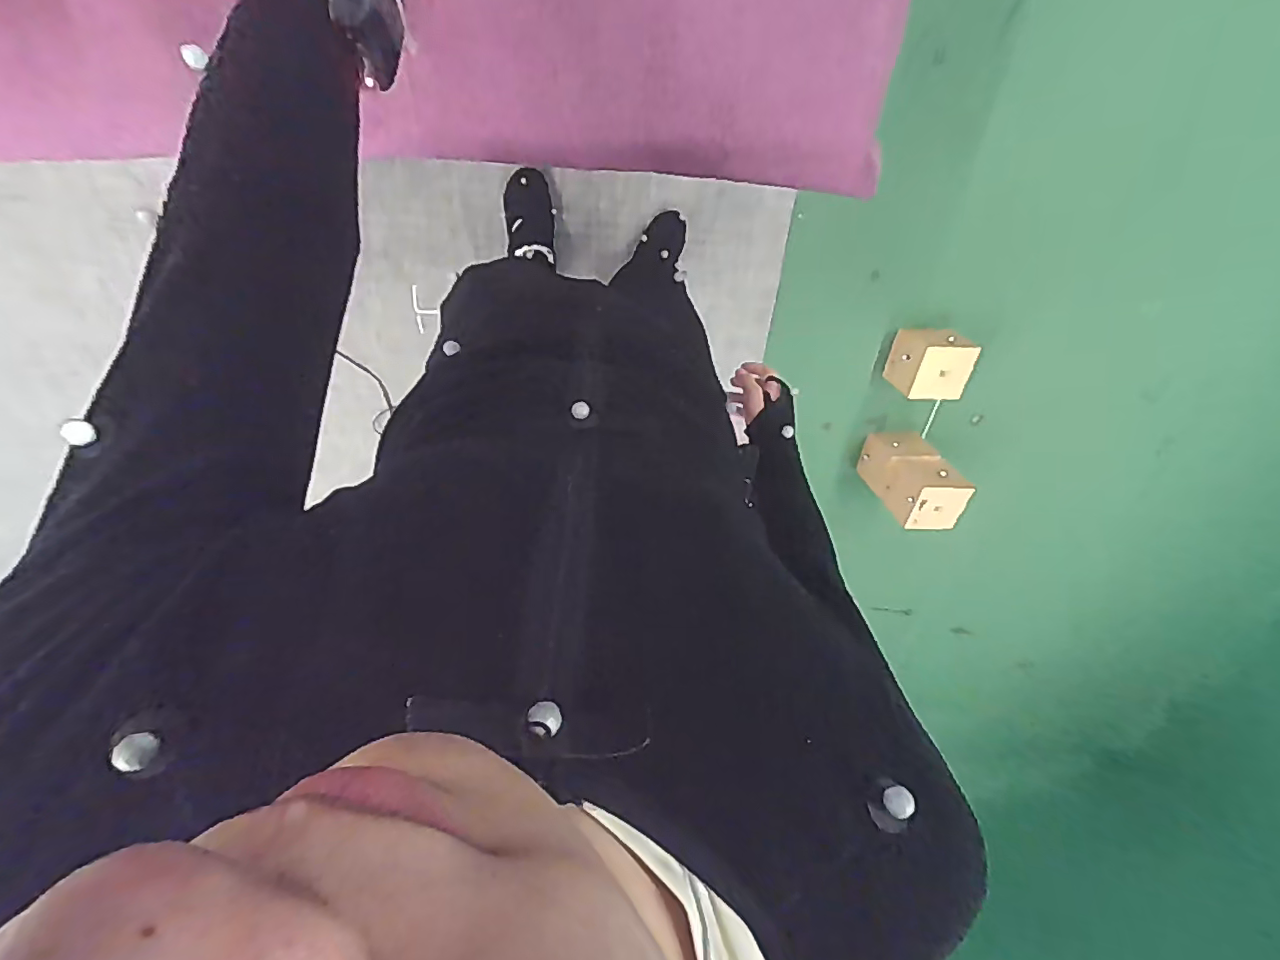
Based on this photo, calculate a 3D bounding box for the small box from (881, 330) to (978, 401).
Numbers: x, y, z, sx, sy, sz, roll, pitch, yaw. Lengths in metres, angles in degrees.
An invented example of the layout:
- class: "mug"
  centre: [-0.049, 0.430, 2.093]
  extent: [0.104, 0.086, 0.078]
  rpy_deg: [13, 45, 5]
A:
- class: "small box"
  centre: [0.876, -0.352, 1.657]
  extent: [0.179, 0.176, 0.168]
  rpy_deg: [-1, 124, -9]

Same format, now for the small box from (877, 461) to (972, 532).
- class: "small box"
  centre: [0.906, 0.050, 1.738]
  extent: [0.179, 0.176, 0.168]
  rpy_deg: [1, 125, -11]
